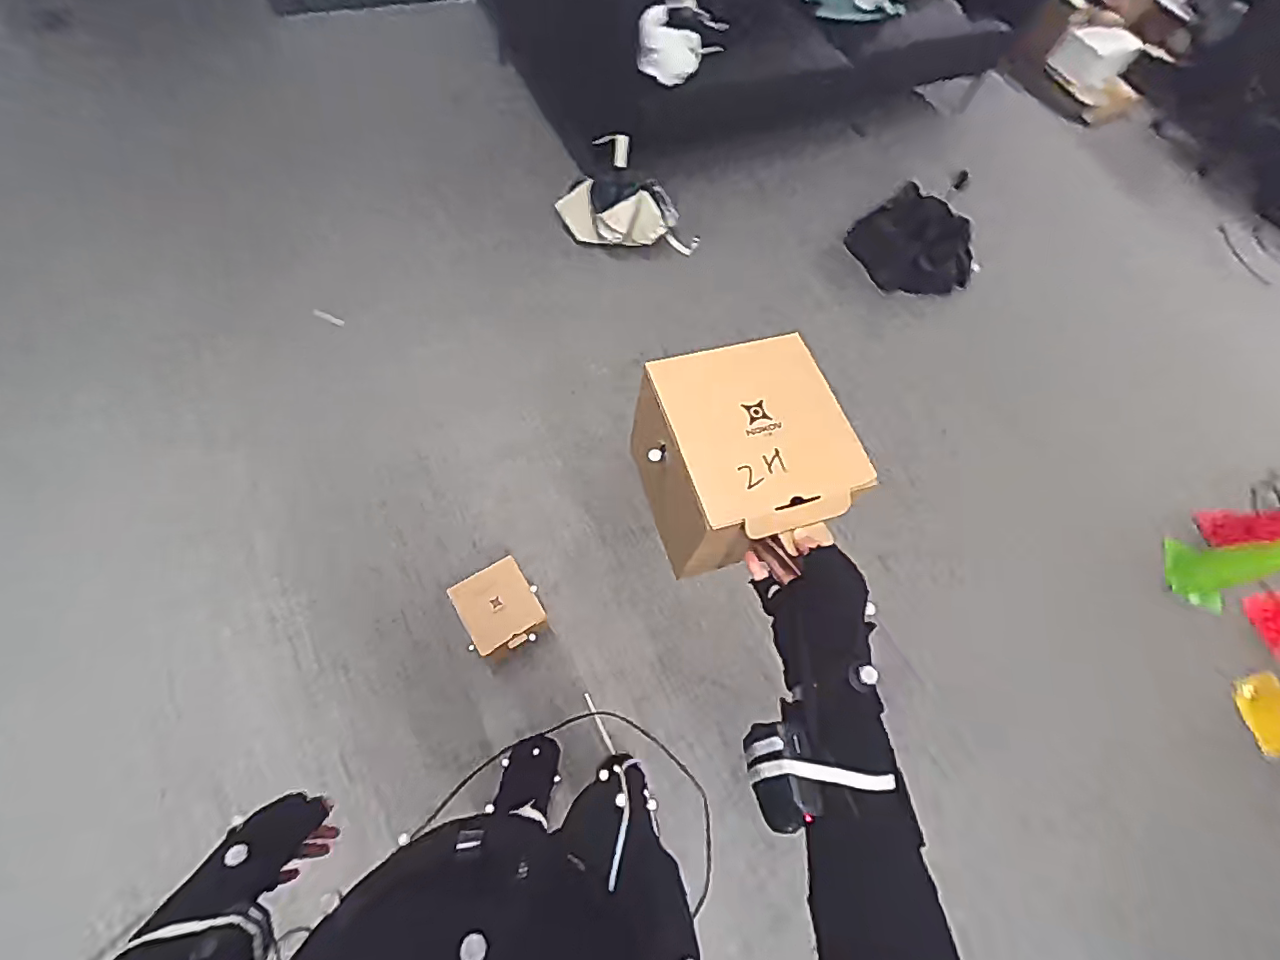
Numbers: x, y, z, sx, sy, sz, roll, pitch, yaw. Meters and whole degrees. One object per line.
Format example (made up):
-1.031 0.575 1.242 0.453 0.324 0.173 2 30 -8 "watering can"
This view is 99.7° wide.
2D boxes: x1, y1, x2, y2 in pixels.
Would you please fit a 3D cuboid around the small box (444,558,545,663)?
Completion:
-0.336 0.315 1.275 0.168 0.176 0.179 -28 73 -21 "small box"
